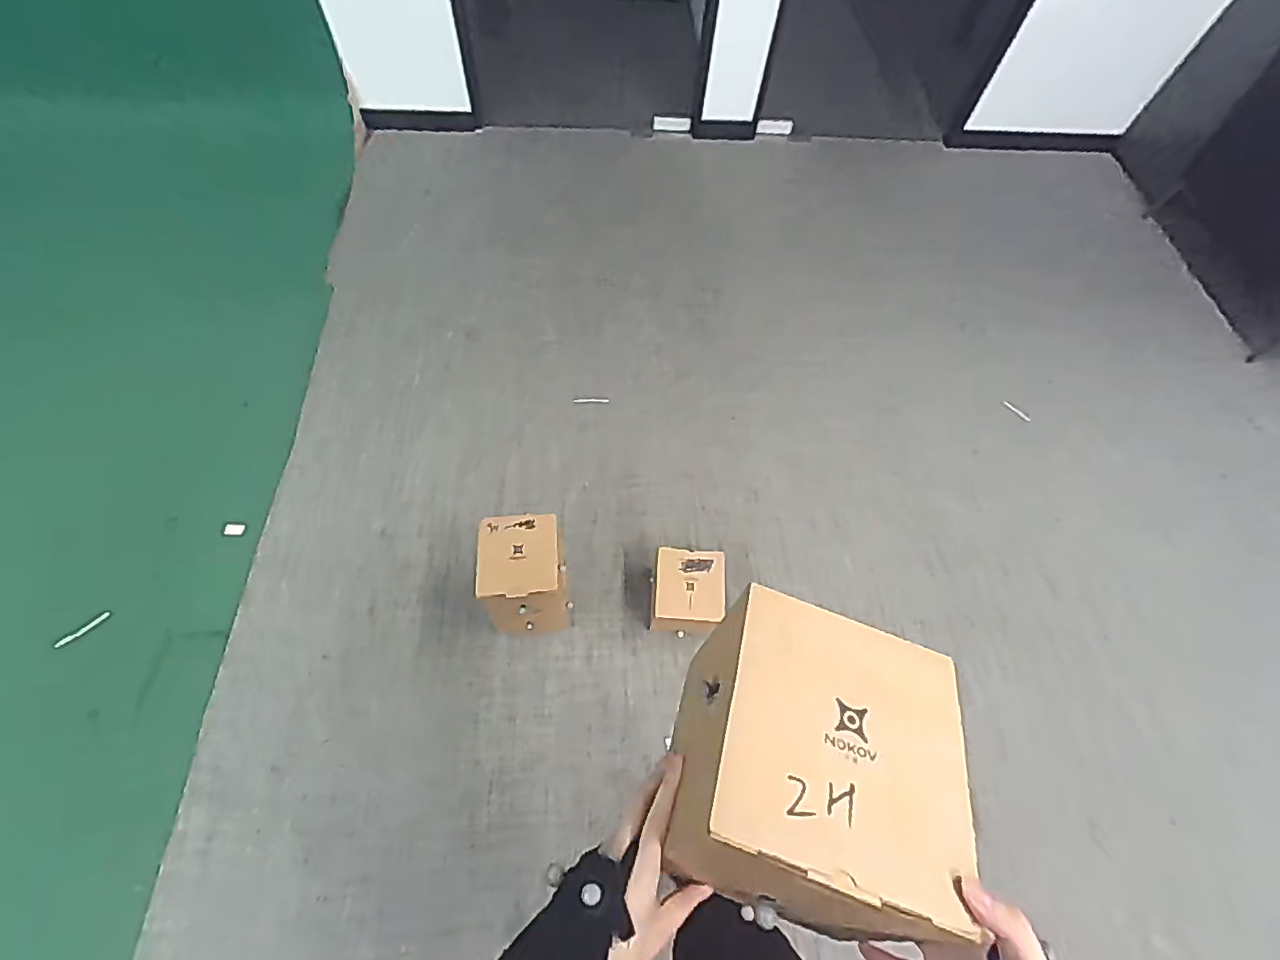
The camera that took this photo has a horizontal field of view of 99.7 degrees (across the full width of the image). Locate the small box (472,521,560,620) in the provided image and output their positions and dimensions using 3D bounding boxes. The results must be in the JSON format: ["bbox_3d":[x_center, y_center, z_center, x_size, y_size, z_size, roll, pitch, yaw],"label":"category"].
[{"bbox_3d":[-0.263,0.203,1.184,0.168,0.176,0.179,-2,63,-6],"label":"small box"}]

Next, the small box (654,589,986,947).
[{"bbox_3d":[0.121,0.222,0.418,0.168,0.176,0.179,21,48,1],"label":"small box"}]

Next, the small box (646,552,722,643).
[{"bbox_3d":[0.108,0.297,1.352,0.168,0.176,0.179,6,63,-2],"label":"small box"}]
